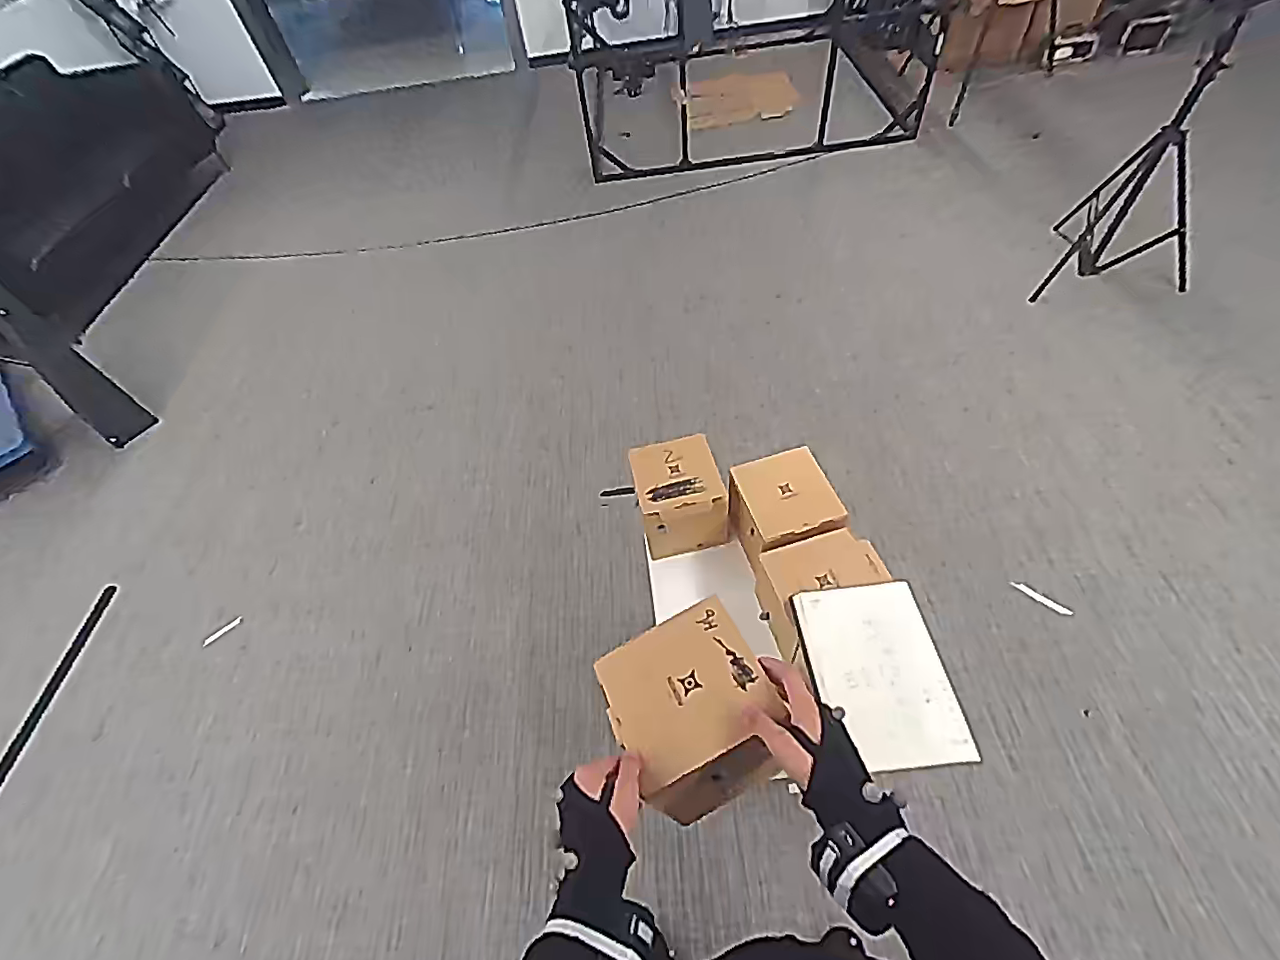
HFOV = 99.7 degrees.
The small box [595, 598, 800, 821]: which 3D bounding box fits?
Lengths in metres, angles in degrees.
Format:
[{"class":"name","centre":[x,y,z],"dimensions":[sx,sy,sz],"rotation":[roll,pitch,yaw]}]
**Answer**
[{"class":"small box","centre":[0.074,0.284,0.661],"dimensions":[0.179,0.176,0.168],"rotation":[-29,46,-2]}]
